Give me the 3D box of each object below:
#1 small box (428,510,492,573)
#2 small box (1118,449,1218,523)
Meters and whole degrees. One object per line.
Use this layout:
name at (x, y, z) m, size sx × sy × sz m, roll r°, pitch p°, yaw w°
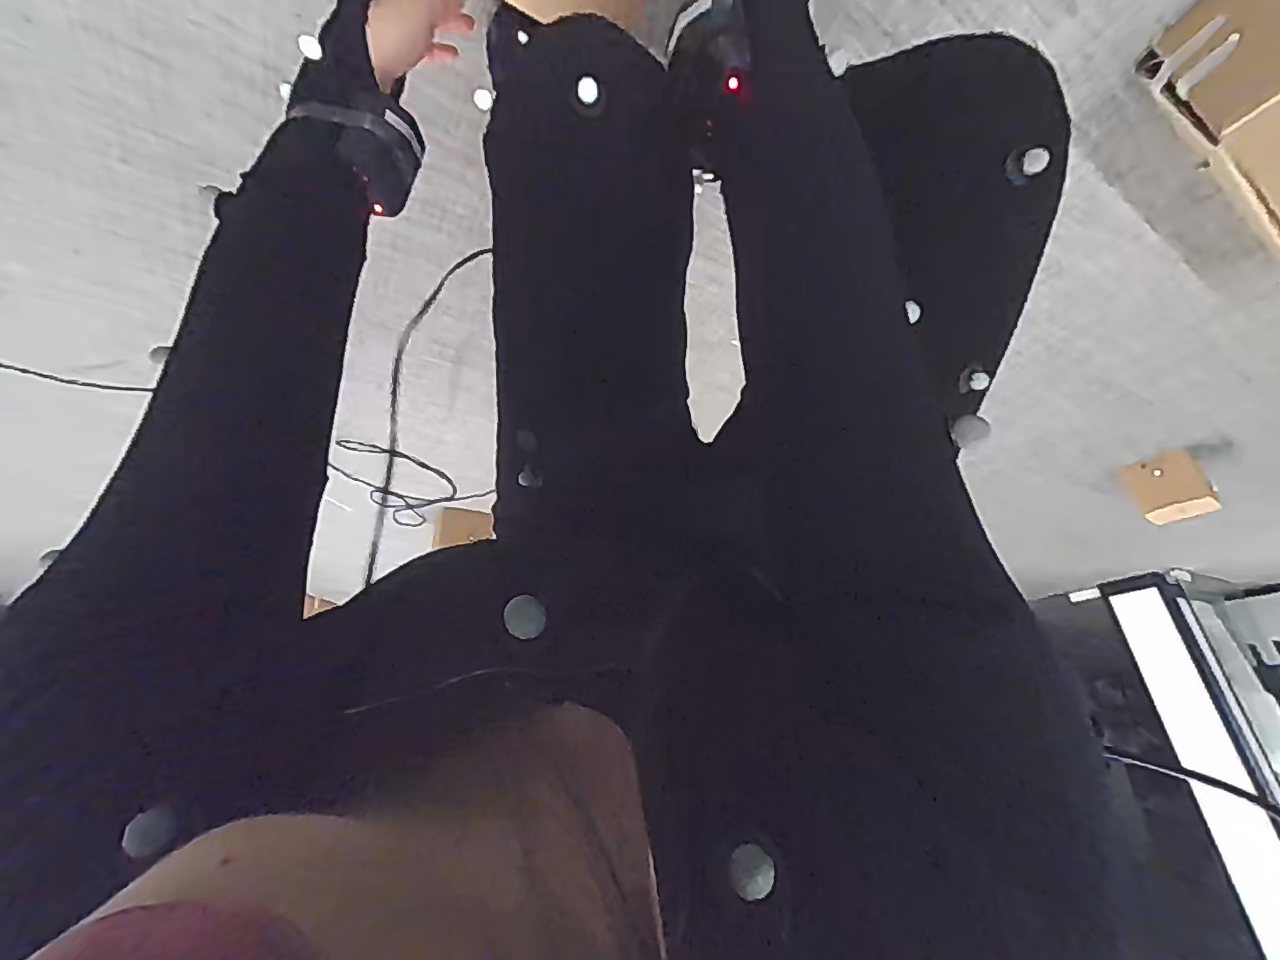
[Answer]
small box at (-0.620, 0.213, 1.868) m, size 0.179 × 0.176 × 0.168 m, roll 10°, pitch 150°, yaw -27°
small box at (1.676, 0.020, 1.720) m, size 0.179 × 0.176 × 0.168 m, roll 16°, pitch 147°, yaw -33°
